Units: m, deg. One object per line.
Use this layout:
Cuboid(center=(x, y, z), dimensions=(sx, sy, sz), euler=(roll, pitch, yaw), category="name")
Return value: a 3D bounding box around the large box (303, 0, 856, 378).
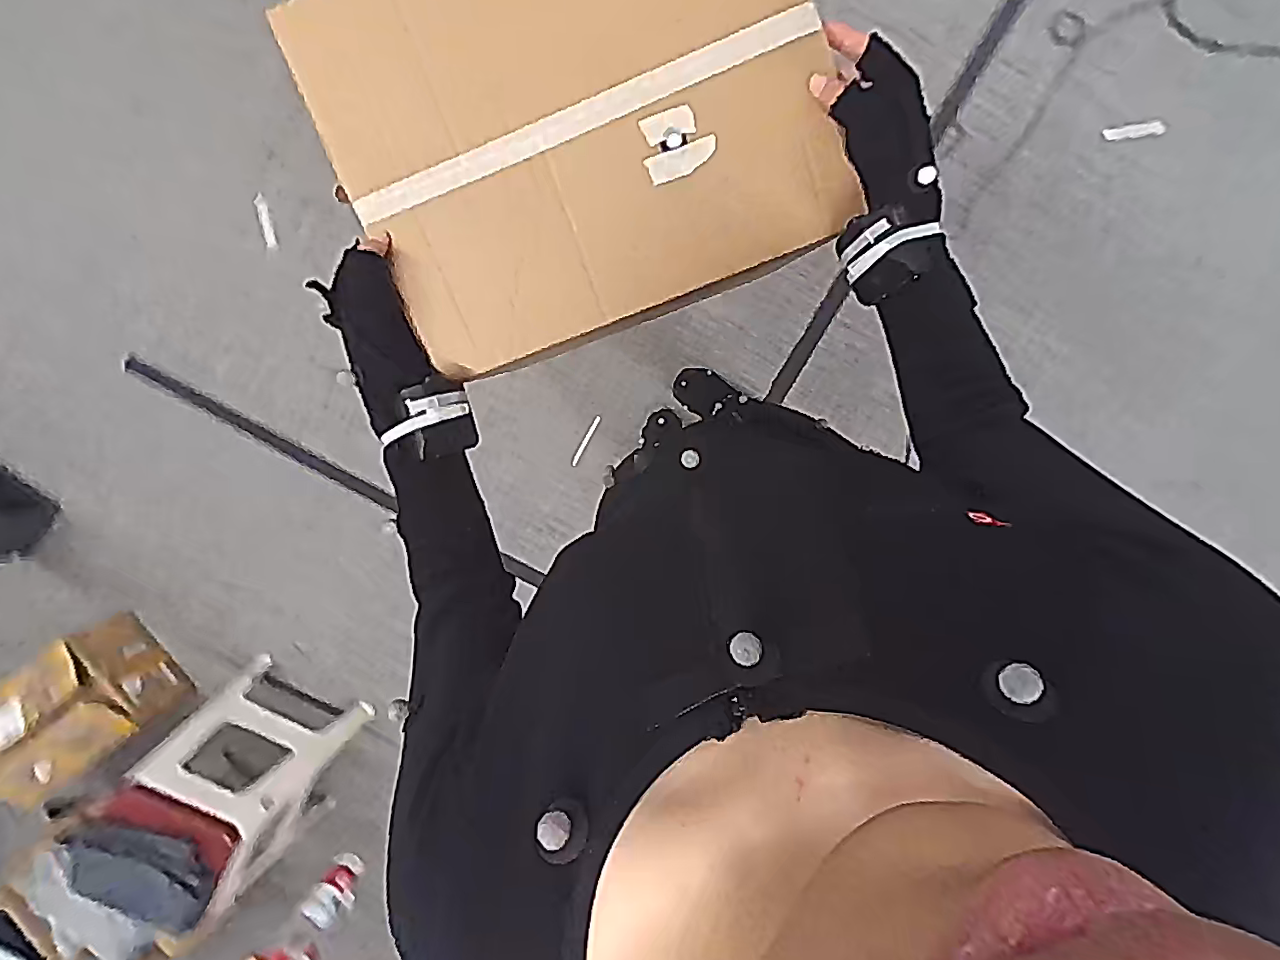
Cuboid(center=(-0.045, -0.335, 0.605), dimensions=(0.408, 0.320, 0.320), euler=(-19, 104, 4), category="large box")
